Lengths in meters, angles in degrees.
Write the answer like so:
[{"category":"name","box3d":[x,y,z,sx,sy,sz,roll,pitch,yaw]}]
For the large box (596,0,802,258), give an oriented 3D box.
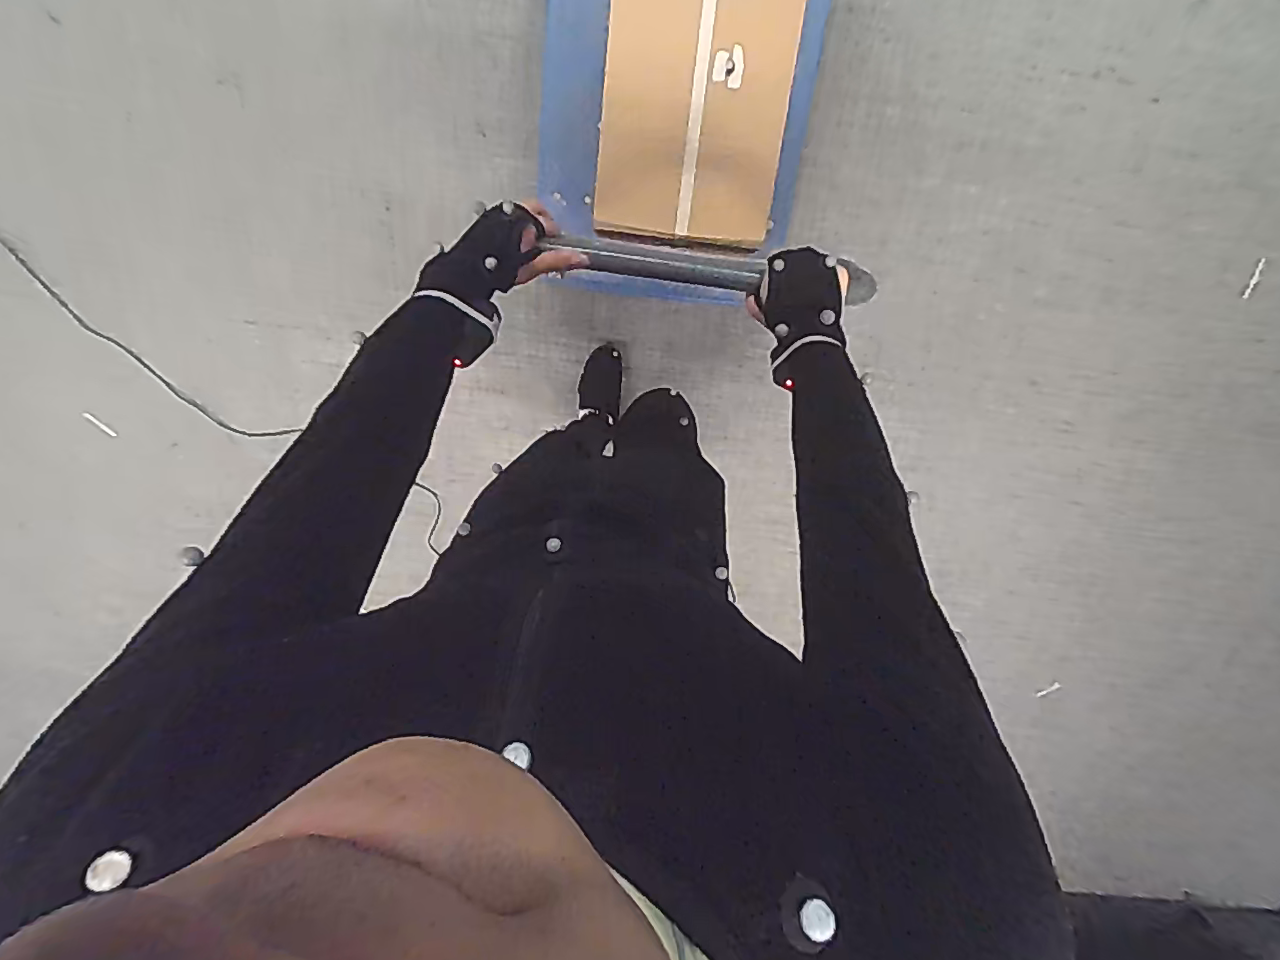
[{"category":"large box","box3d":[0.092,-0.675,1.066,0.320,0.320,0.408,6,108,-4]}]
